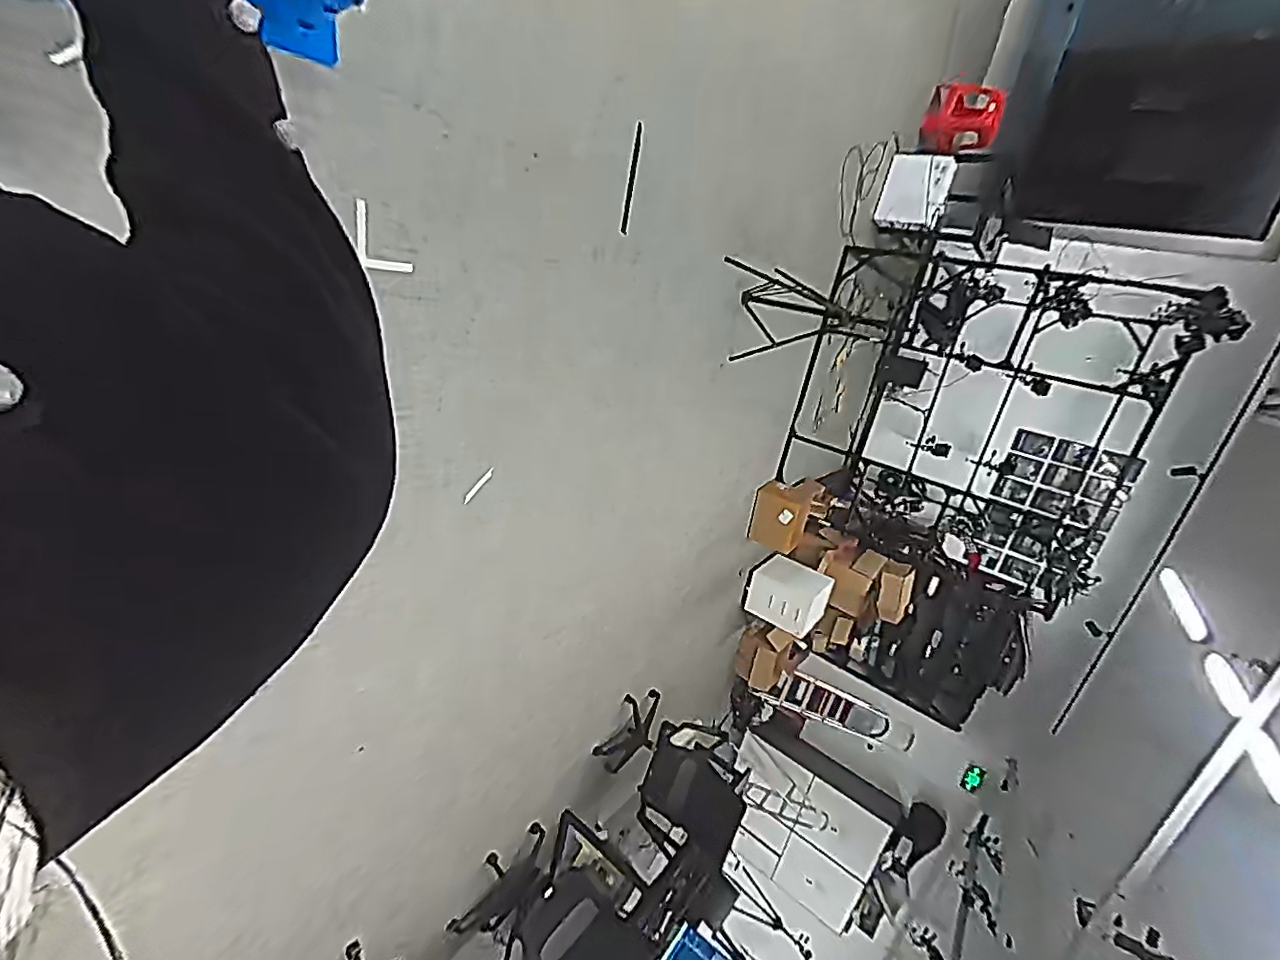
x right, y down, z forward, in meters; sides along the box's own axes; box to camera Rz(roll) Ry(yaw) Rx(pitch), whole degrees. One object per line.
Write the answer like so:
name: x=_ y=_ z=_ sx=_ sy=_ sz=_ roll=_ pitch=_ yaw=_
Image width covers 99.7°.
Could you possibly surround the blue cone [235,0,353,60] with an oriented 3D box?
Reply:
blue cone: x=-0.571 y=-0.908 z=0.983 sx=0.193 sy=0.380 sz=0.192 roll=-20 pitch=125 yaw=-51
